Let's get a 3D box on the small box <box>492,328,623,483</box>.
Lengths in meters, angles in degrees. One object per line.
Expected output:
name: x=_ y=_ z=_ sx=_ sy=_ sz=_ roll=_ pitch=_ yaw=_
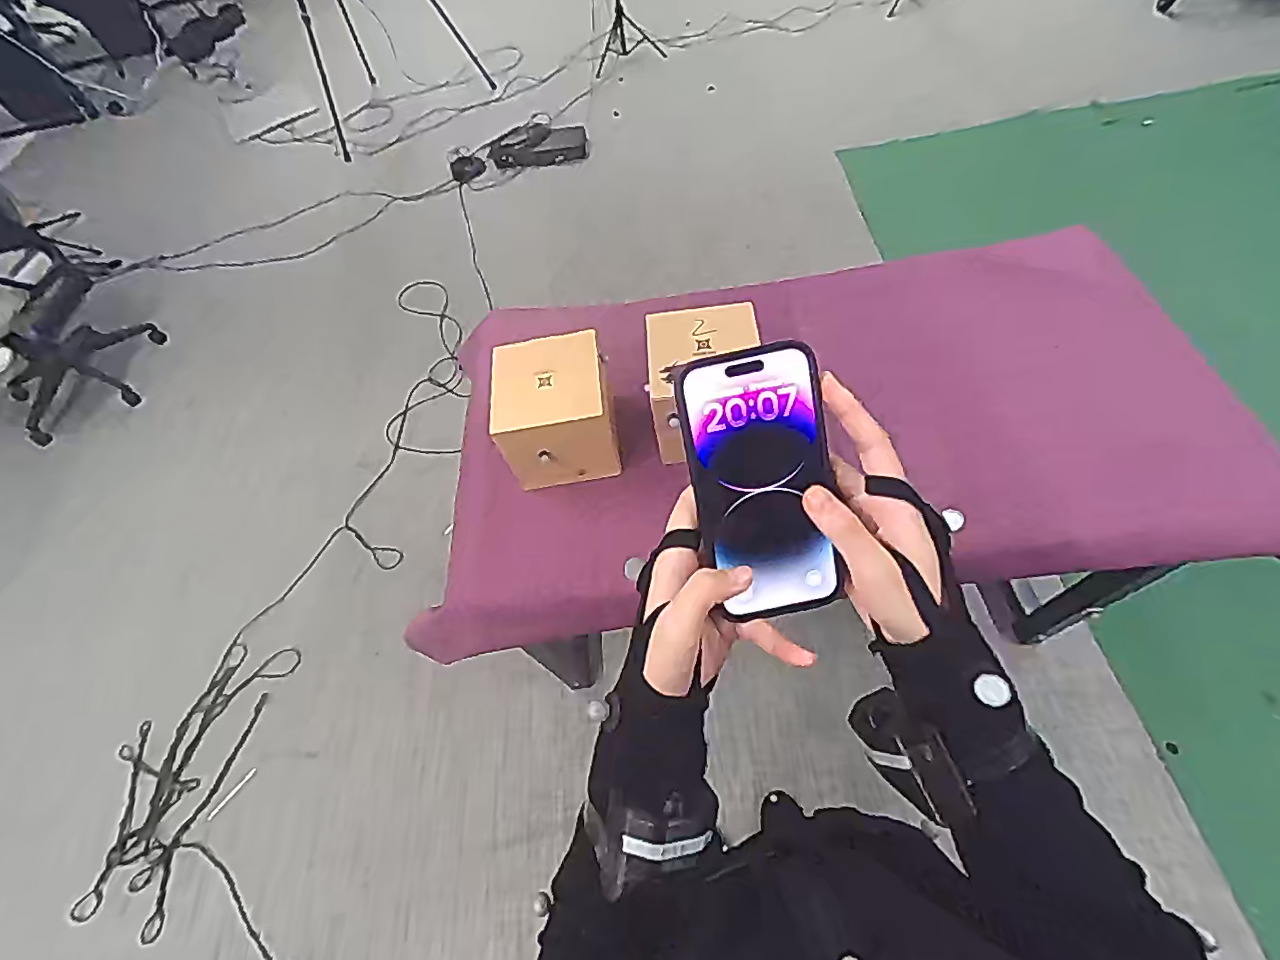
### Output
small box: x=-0.126 y=-0.110 z=0.868 sx=0.168 sy=0.176 sz=0.179 roll=-10 pitch=57 yaw=3
